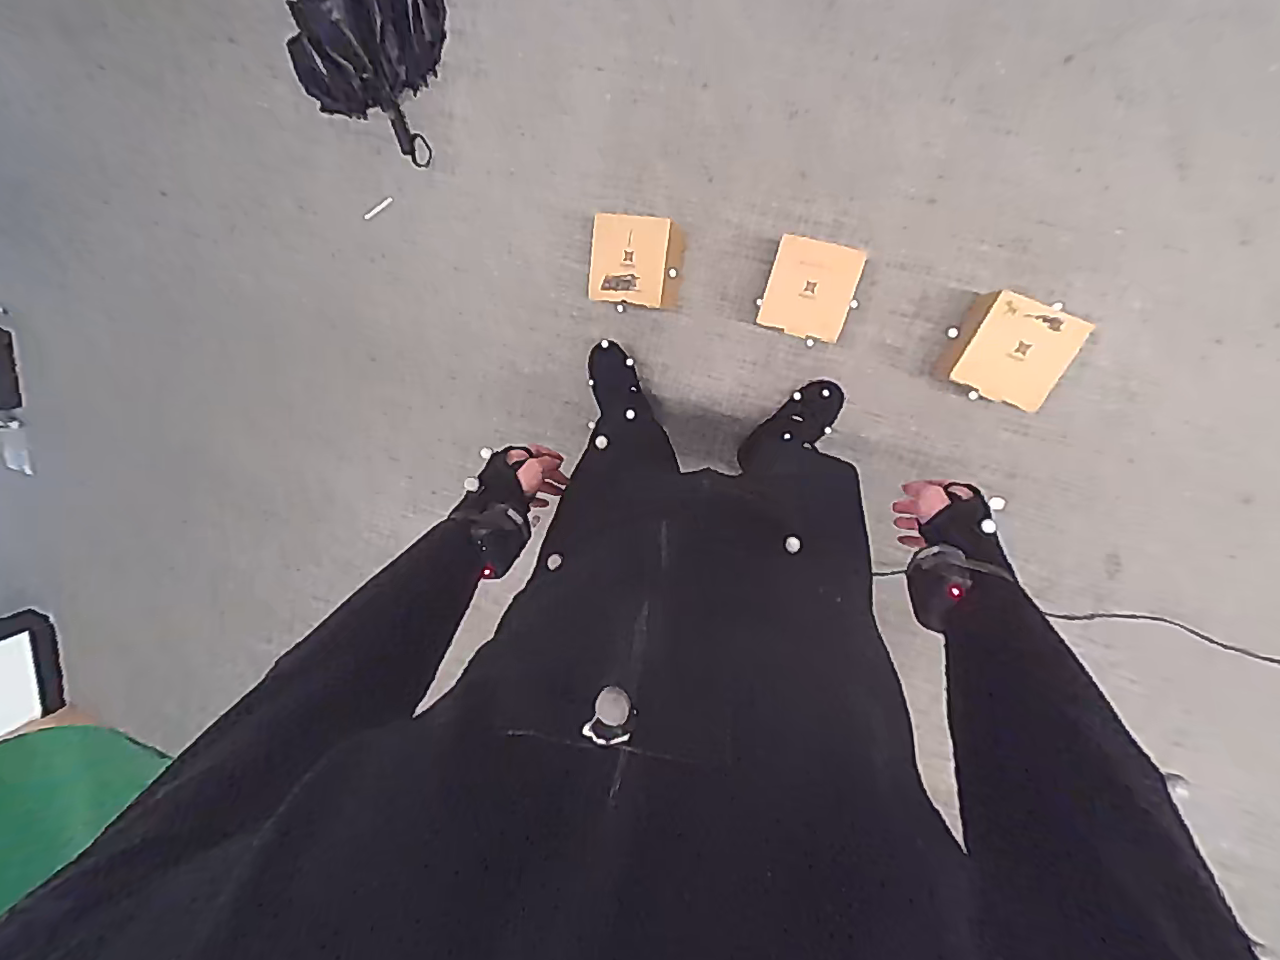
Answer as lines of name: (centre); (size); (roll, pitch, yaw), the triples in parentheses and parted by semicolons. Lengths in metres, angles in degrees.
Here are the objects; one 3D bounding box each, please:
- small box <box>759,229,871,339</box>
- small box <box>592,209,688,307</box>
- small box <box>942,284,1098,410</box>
small box: (0.357, -0.397, 1.118); (0.168, 0.176, 0.179); (17, 108, 10)
small box: (0.005, -0.484, 1.199); (0.168, 0.176, 0.179); (11, 107, 13)
small box: (0.714, -0.258, 1.046); (0.168, 0.176, 0.179); (27, 112, 9)
